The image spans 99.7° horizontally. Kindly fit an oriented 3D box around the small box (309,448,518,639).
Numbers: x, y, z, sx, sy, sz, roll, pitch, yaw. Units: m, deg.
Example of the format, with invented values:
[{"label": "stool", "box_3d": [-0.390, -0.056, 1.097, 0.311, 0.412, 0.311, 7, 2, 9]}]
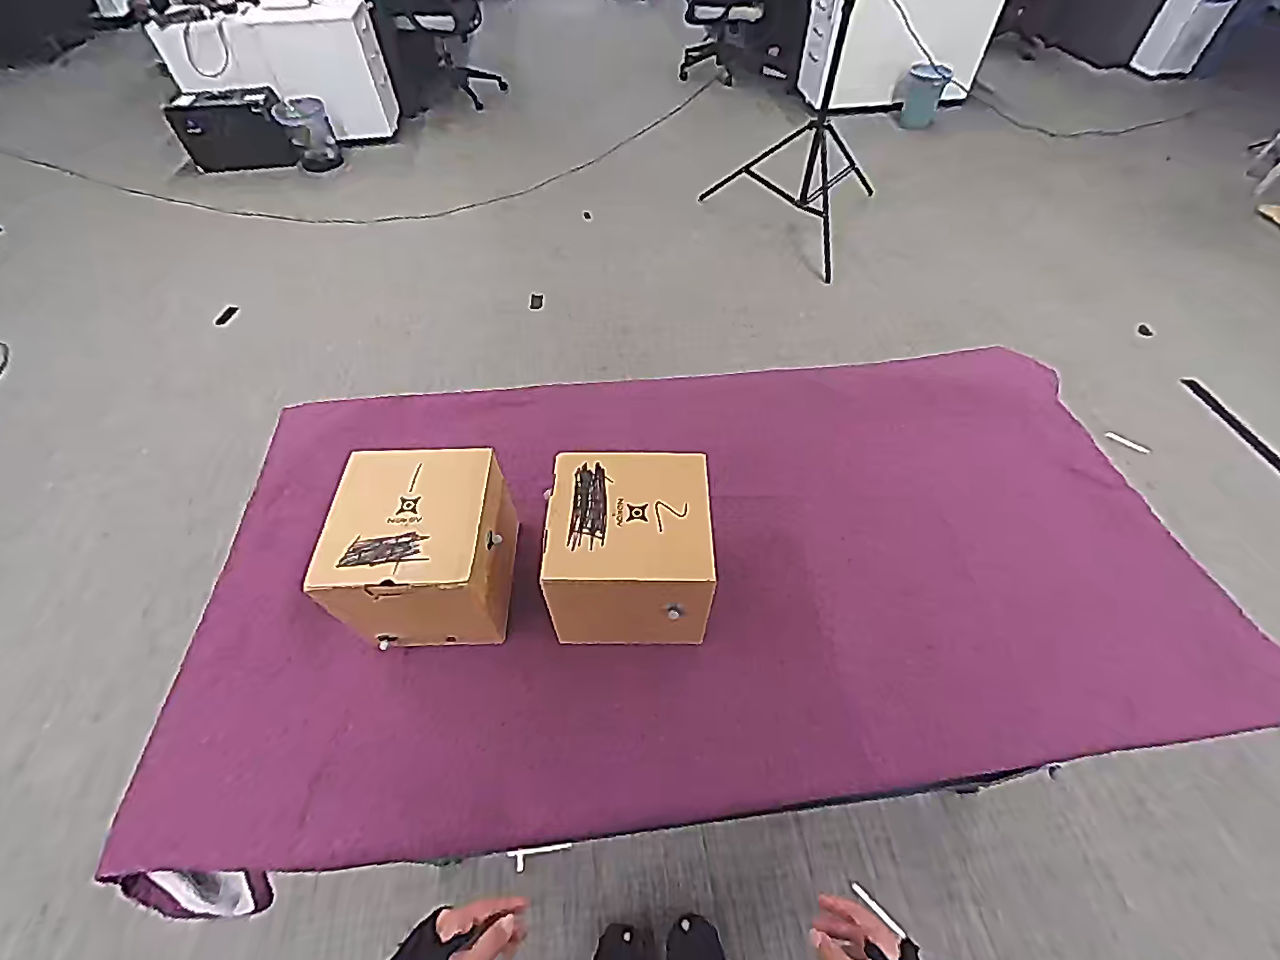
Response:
[{"label": "small box", "box_3d": [-0.249, 0.083, 0.647, 0.168, 0.176, 0.179, -1, 53, -1]}]
